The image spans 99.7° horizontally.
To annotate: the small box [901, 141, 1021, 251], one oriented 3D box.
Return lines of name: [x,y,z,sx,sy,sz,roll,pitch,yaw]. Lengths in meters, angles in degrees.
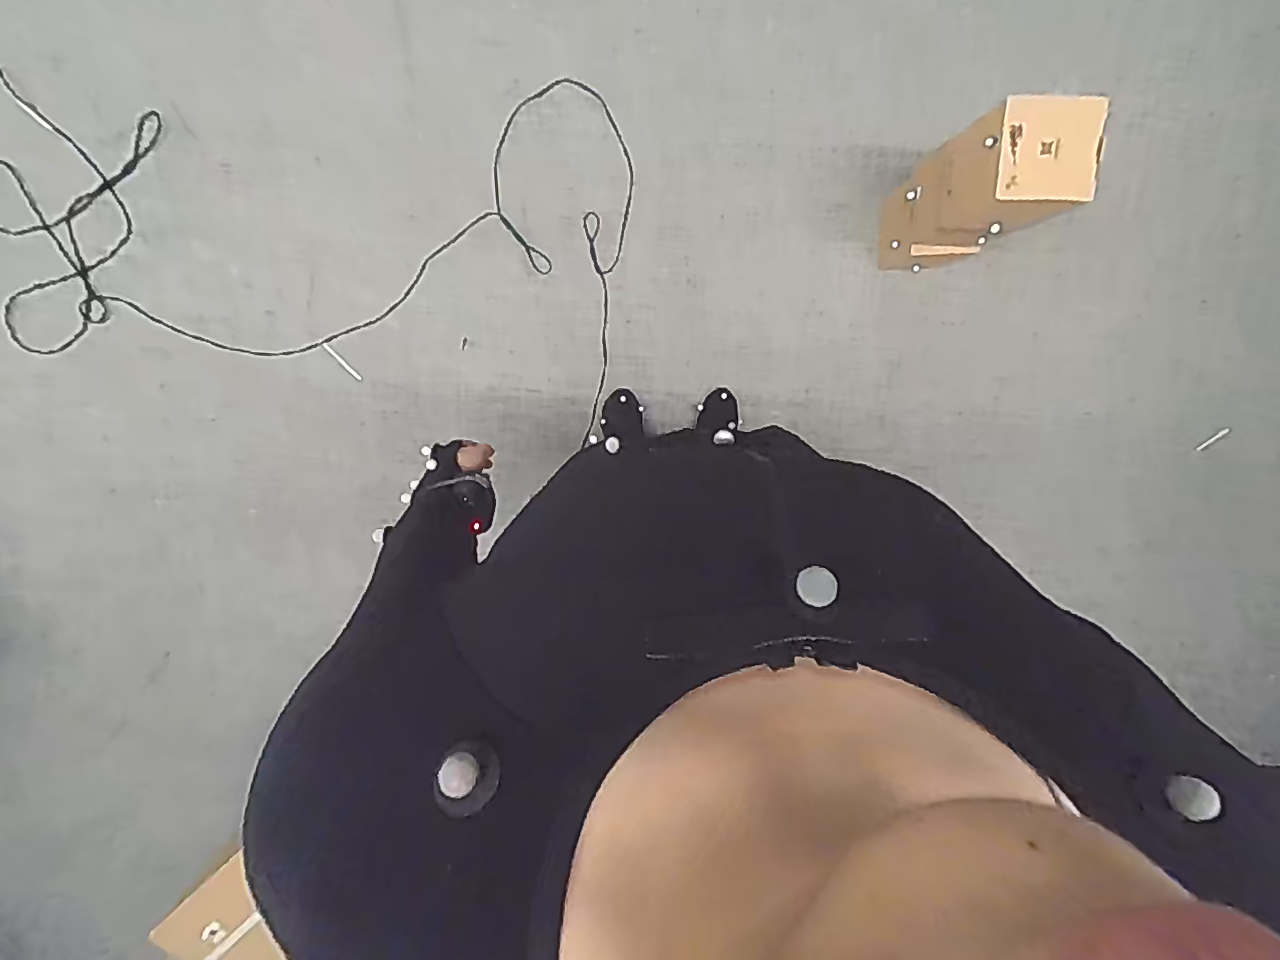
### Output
small box: [0.695,-0.602,1.163,0.179,0.176,0.168,1,99,-1]

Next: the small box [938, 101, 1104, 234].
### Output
small box: [0.693,-0.567,1.002,0.179,0.176,0.168,1,99,-2]
